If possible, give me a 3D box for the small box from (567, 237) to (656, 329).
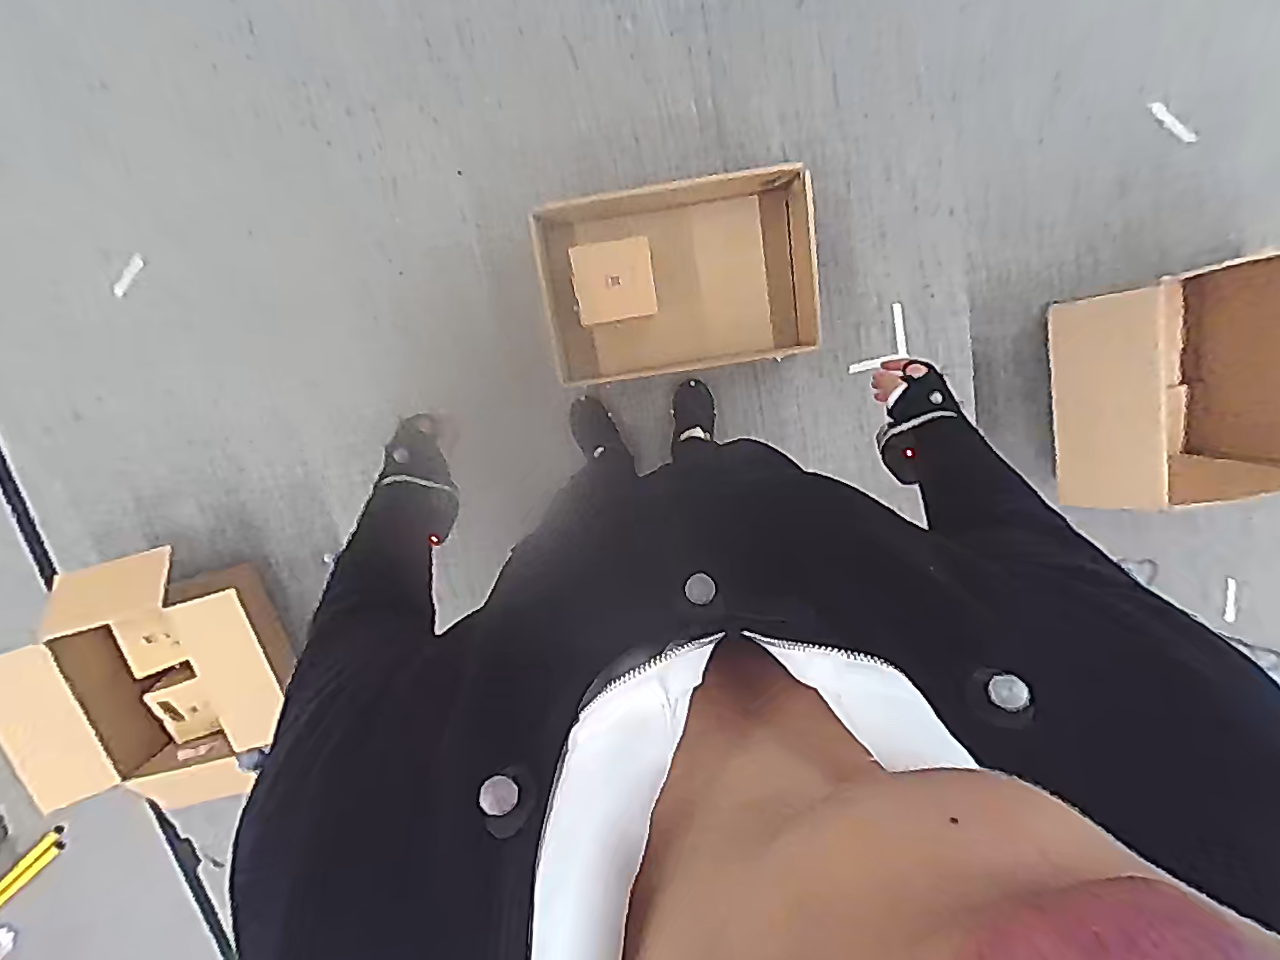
[{"bbox_3d":[-0.062,-0.451,1.262,0.179,0.176,0.168,-10,104,0],"label":"small box"}]
